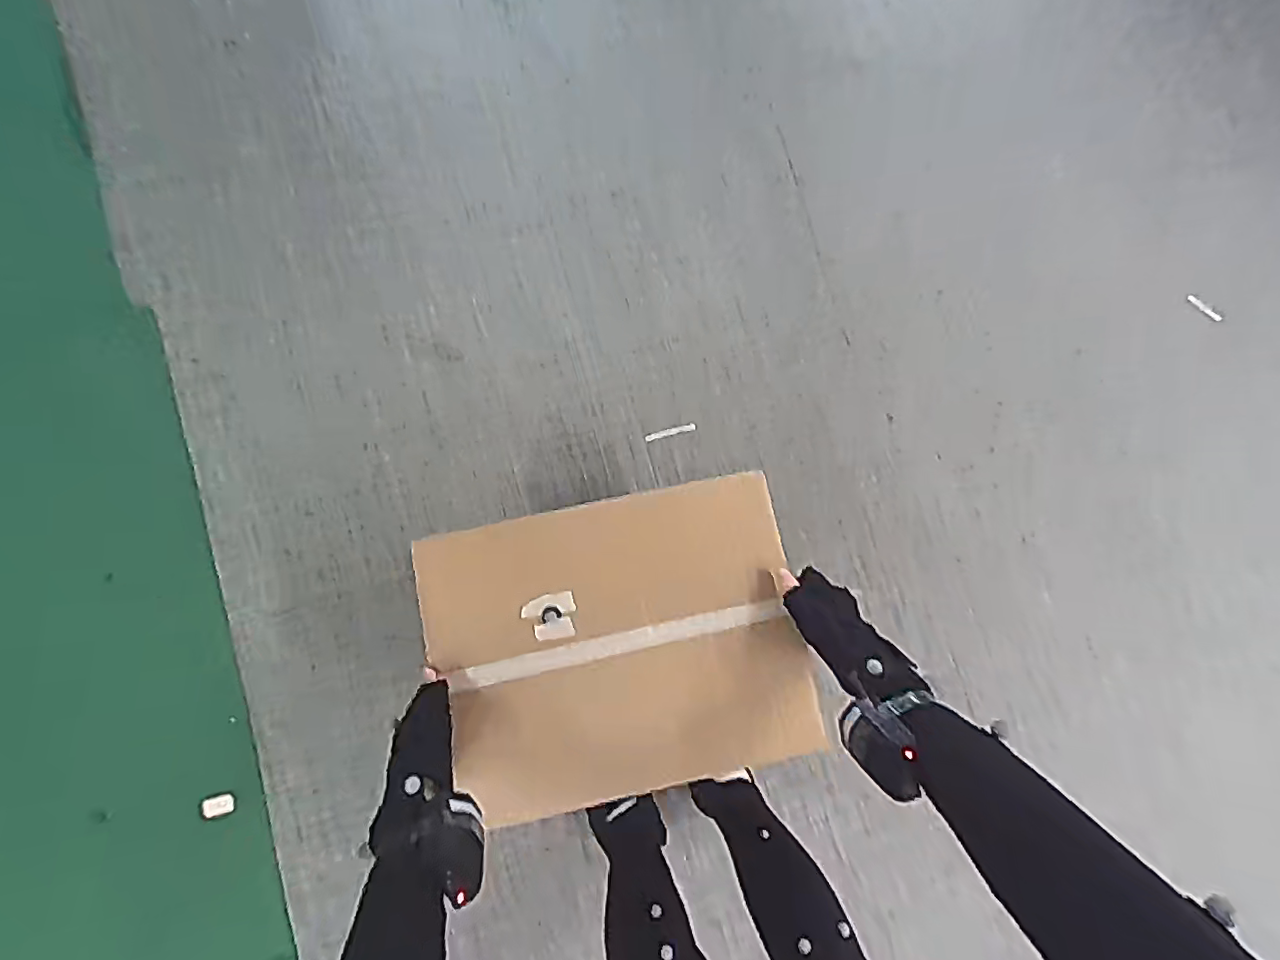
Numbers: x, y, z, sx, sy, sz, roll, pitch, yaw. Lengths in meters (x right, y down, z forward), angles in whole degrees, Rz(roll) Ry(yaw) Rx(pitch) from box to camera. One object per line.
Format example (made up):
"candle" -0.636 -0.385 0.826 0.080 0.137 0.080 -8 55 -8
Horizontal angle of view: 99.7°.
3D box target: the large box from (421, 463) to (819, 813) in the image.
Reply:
"large box" -0.027 0.184 0.751 0.408 0.320 0.320 -11 83 -3
